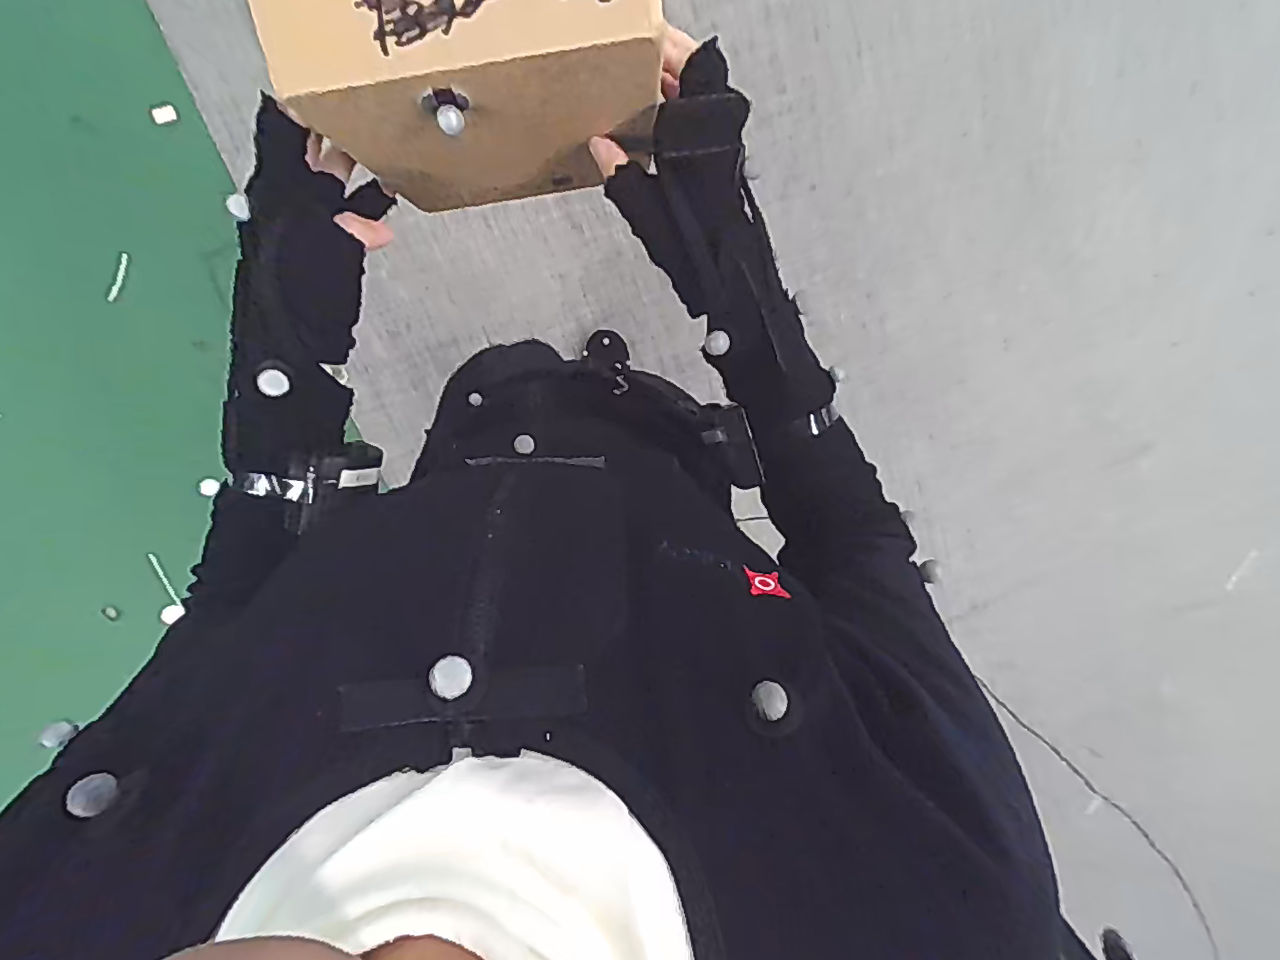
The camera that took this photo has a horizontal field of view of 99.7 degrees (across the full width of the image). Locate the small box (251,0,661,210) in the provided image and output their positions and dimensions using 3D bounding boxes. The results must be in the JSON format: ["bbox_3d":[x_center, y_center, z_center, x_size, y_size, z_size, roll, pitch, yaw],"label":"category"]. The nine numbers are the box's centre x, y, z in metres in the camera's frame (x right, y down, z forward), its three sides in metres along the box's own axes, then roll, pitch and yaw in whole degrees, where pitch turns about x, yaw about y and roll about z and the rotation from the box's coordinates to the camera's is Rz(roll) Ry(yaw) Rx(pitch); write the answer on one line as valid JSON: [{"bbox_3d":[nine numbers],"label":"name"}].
[{"bbox_3d":[-0.085,-0.272,0.288,0.168,0.176,0.179,-9,101,2],"label":"small box"}]
